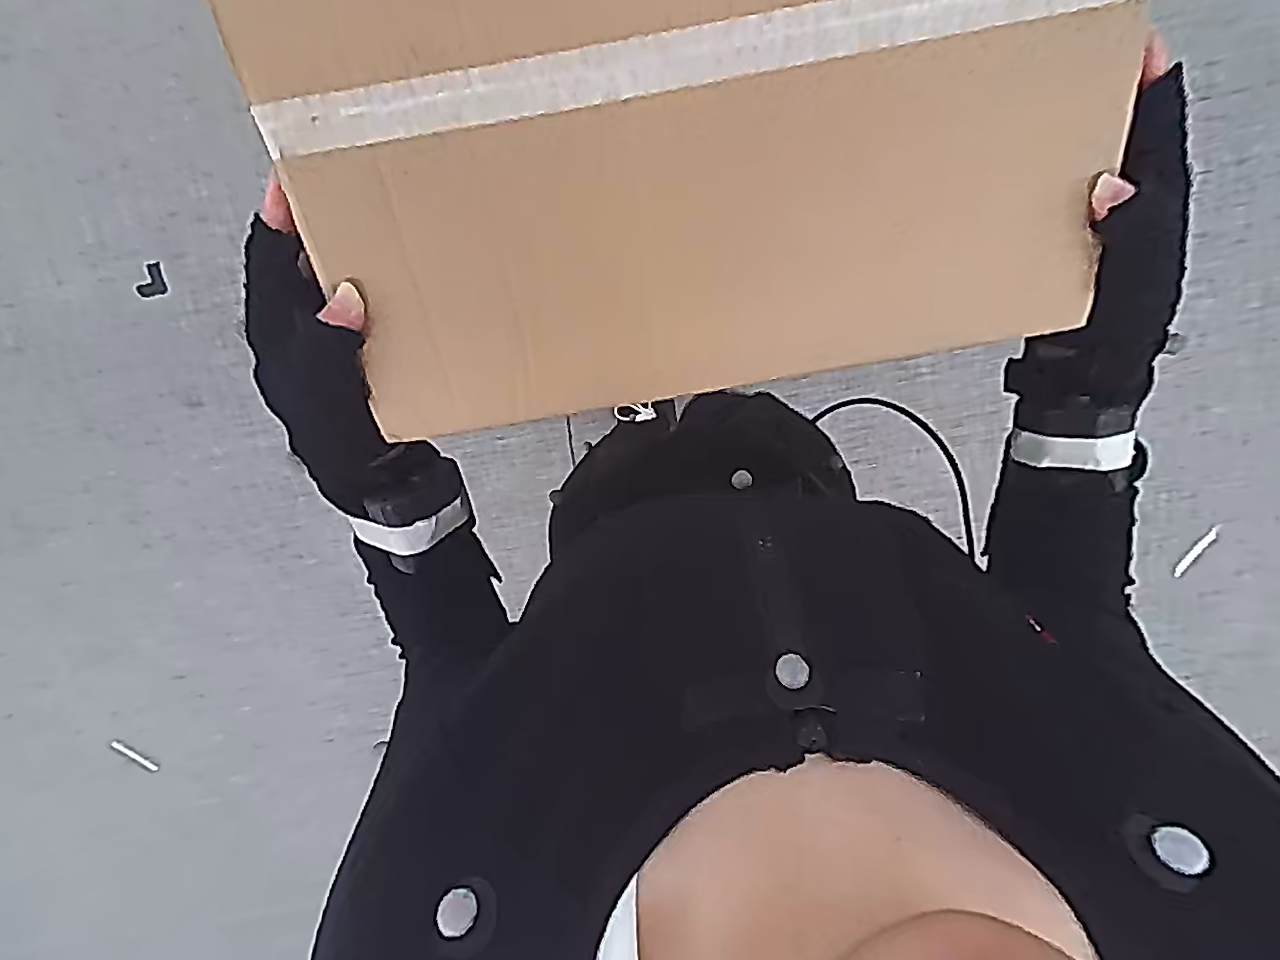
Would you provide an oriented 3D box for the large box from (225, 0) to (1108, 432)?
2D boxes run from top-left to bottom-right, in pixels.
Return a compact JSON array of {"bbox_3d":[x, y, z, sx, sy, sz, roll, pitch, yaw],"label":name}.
[{"bbox_3d":[0.016,-0.263,0.386,0.408,0.320,0.320,-10,115,1],"label":"large box"}]
